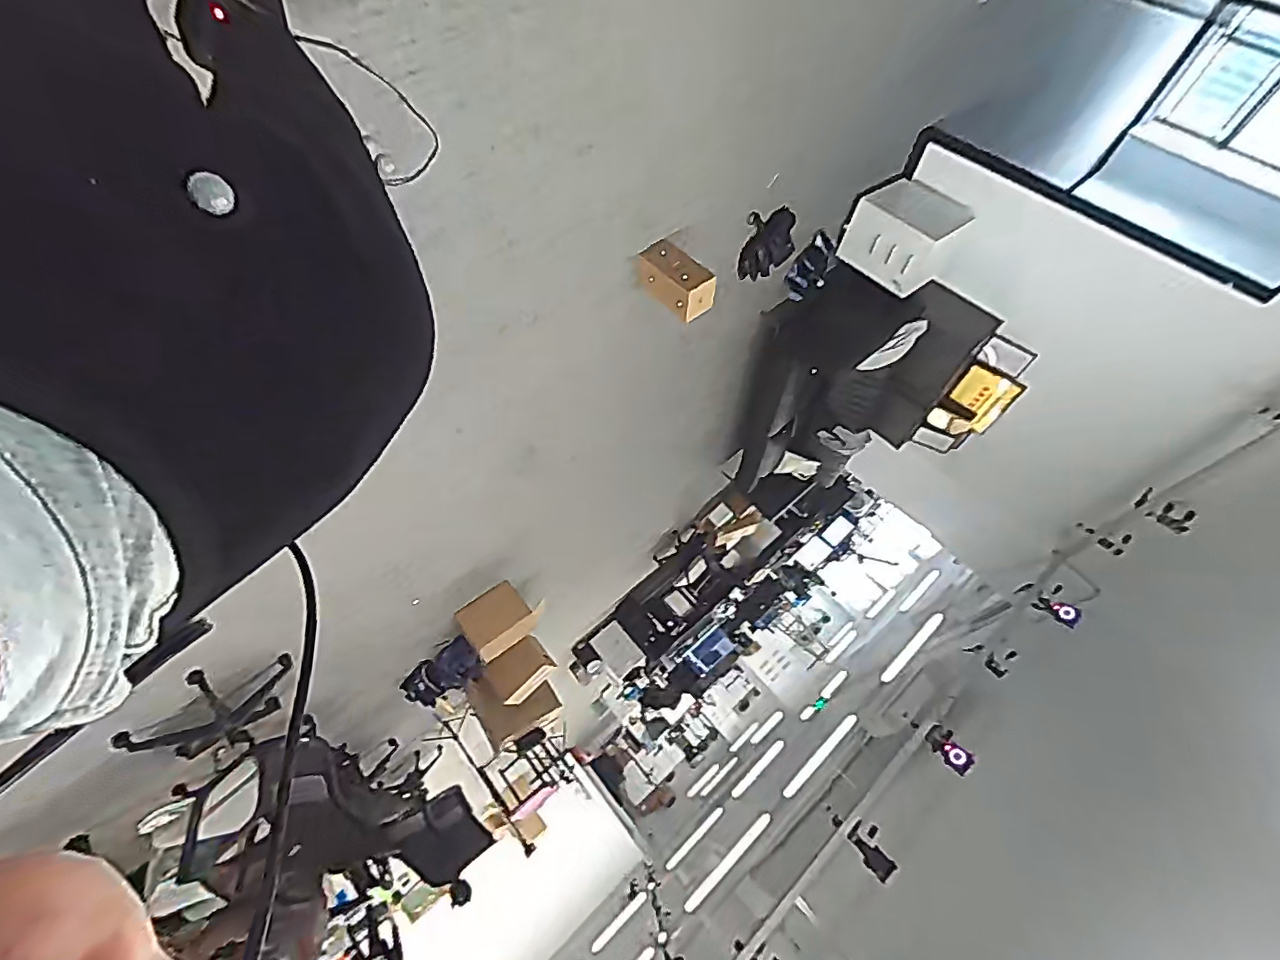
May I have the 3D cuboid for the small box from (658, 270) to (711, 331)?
[{"bbox_3d":[0.194,-0.804,2.399,0.168,0.176,0.179,-37,158,-19],"label":"small box"}]

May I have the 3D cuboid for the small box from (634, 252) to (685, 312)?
[{"bbox_3d":[0.085,-0.909,2.460,0.168,0.176,0.179,-39,156,-19],"label":"small box"}]
